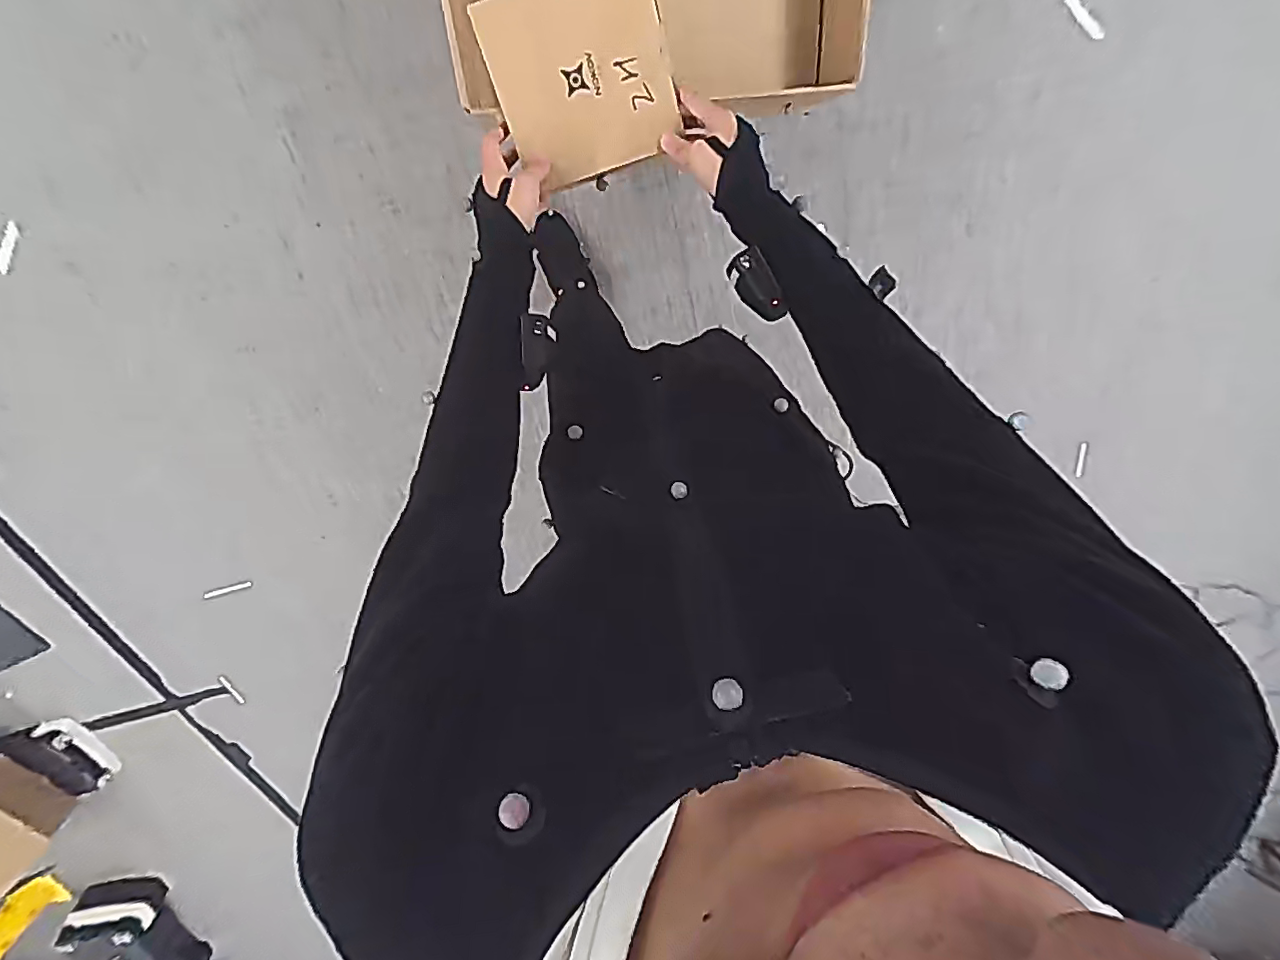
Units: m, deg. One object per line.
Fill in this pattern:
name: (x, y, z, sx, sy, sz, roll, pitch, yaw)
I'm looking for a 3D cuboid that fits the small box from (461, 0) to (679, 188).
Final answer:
small box: (-0.070, -0.436, 0.601, 0.179, 0.176, 0.168, -17, 119, 2)
